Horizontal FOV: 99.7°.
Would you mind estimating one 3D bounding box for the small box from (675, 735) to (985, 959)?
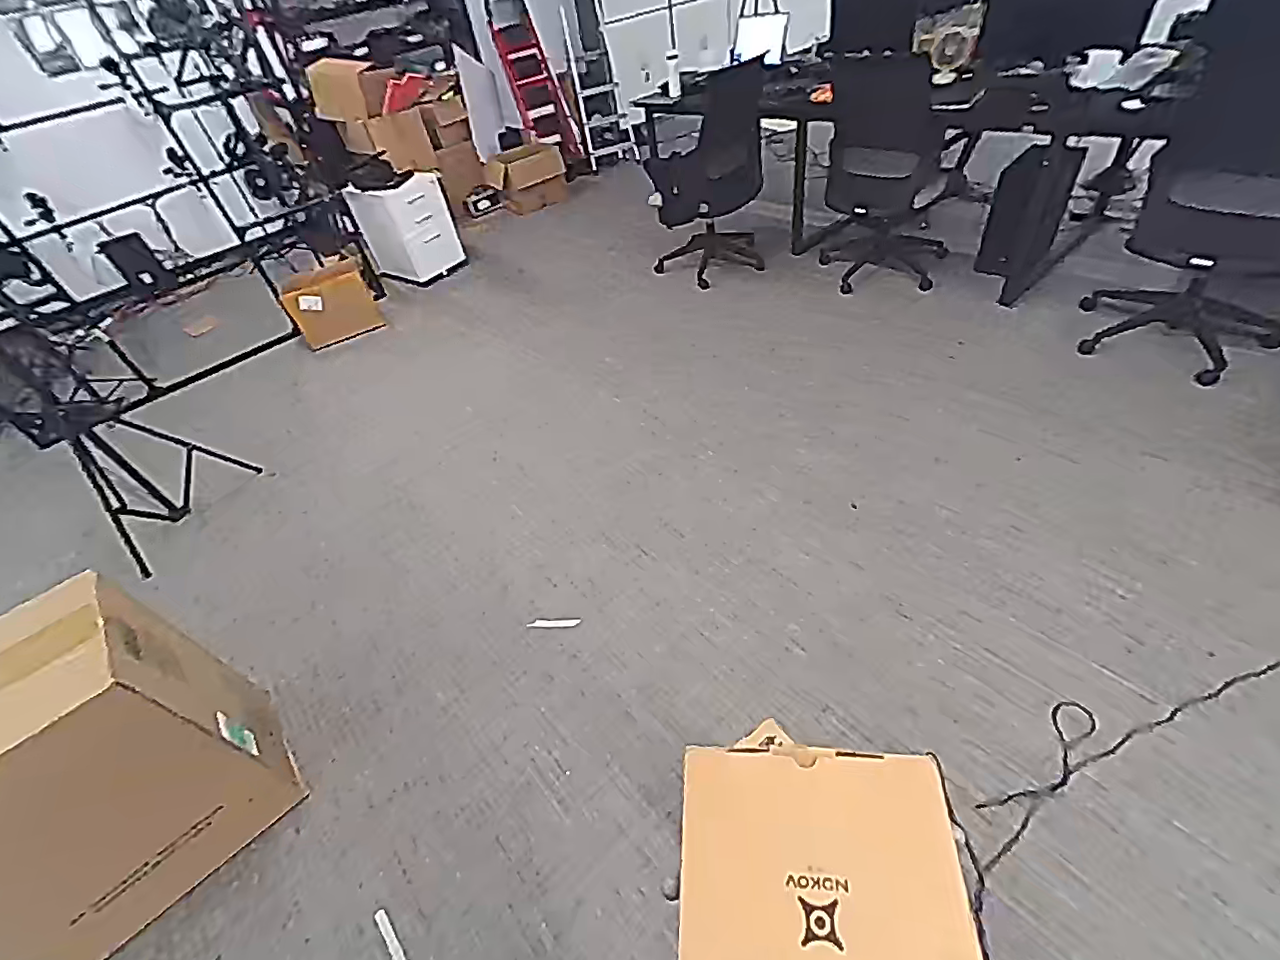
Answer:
[{"bbox_3d":[0.118,0.293,0.368,0.168,0.176,0.179,-3,47,11],"label":"small box"}]
